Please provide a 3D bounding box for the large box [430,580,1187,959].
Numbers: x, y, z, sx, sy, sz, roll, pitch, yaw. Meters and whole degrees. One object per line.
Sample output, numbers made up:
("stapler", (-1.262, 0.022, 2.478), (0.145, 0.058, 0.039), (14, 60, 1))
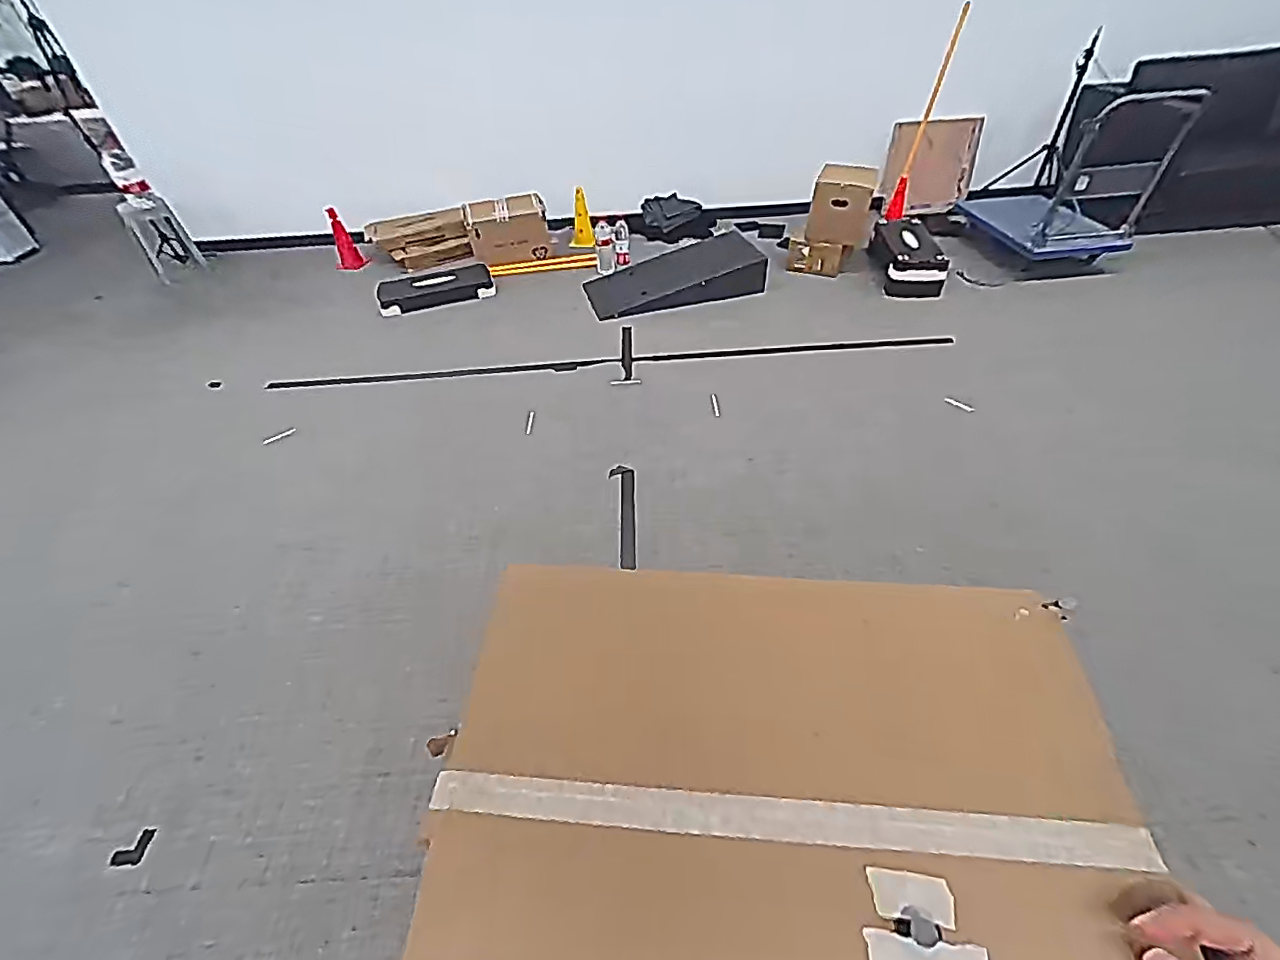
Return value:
("large box", (0.092, 0.295, 0.441), (0.408, 0.320, 0.320), (2, 54, 4))
